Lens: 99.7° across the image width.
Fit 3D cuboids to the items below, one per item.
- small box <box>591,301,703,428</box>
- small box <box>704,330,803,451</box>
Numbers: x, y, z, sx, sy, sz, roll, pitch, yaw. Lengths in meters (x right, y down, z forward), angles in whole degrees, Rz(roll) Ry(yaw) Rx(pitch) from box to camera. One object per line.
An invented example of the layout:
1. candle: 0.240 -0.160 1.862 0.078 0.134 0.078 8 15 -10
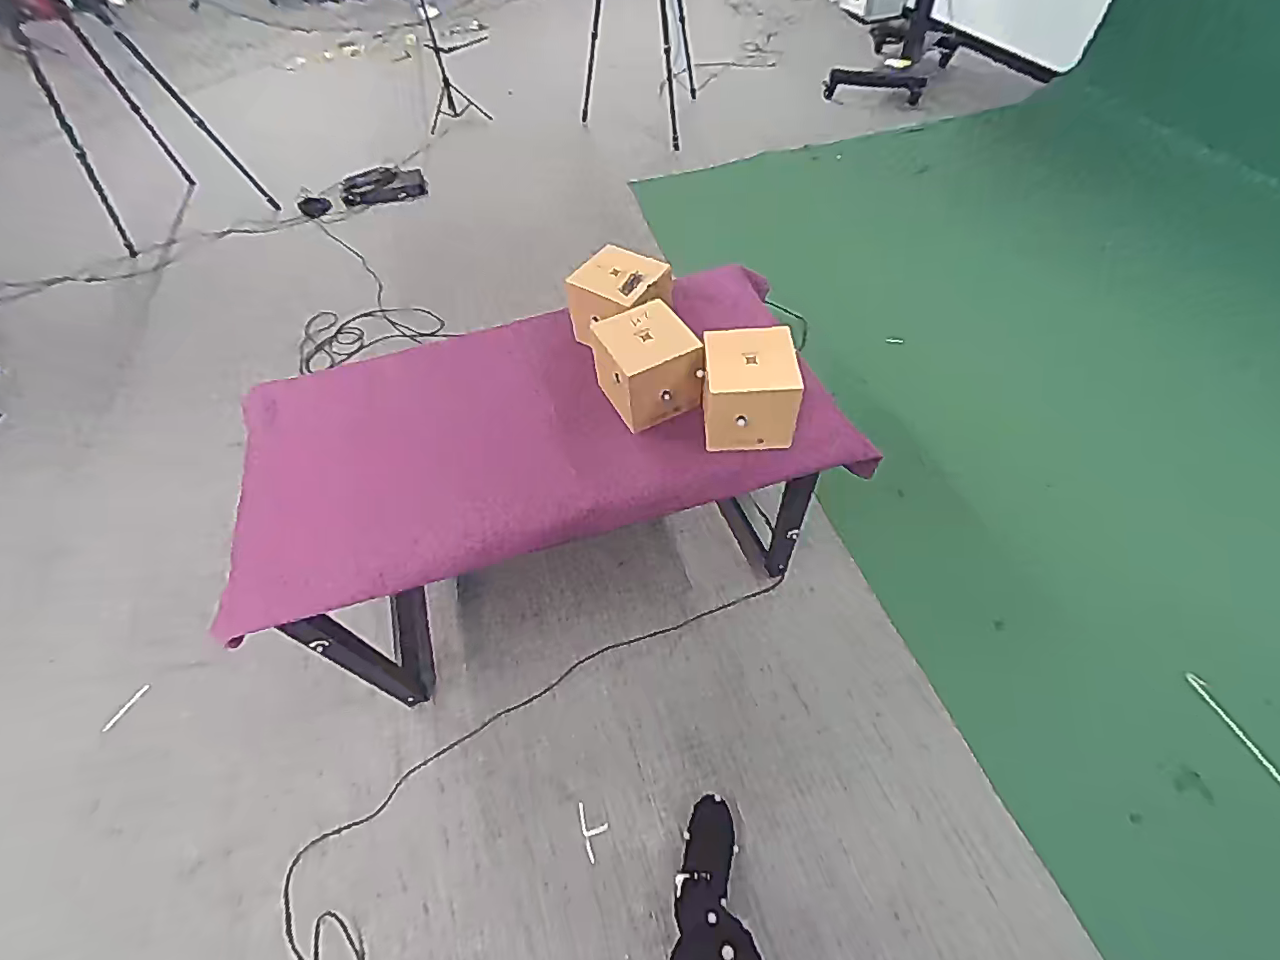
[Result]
1. small box: 0.017 -0.229 1.112 0.168 0.176 0.179 -24 56 -13
2. small box: 0.211 -0.168 1.053 0.168 0.176 0.179 -2 52 4
